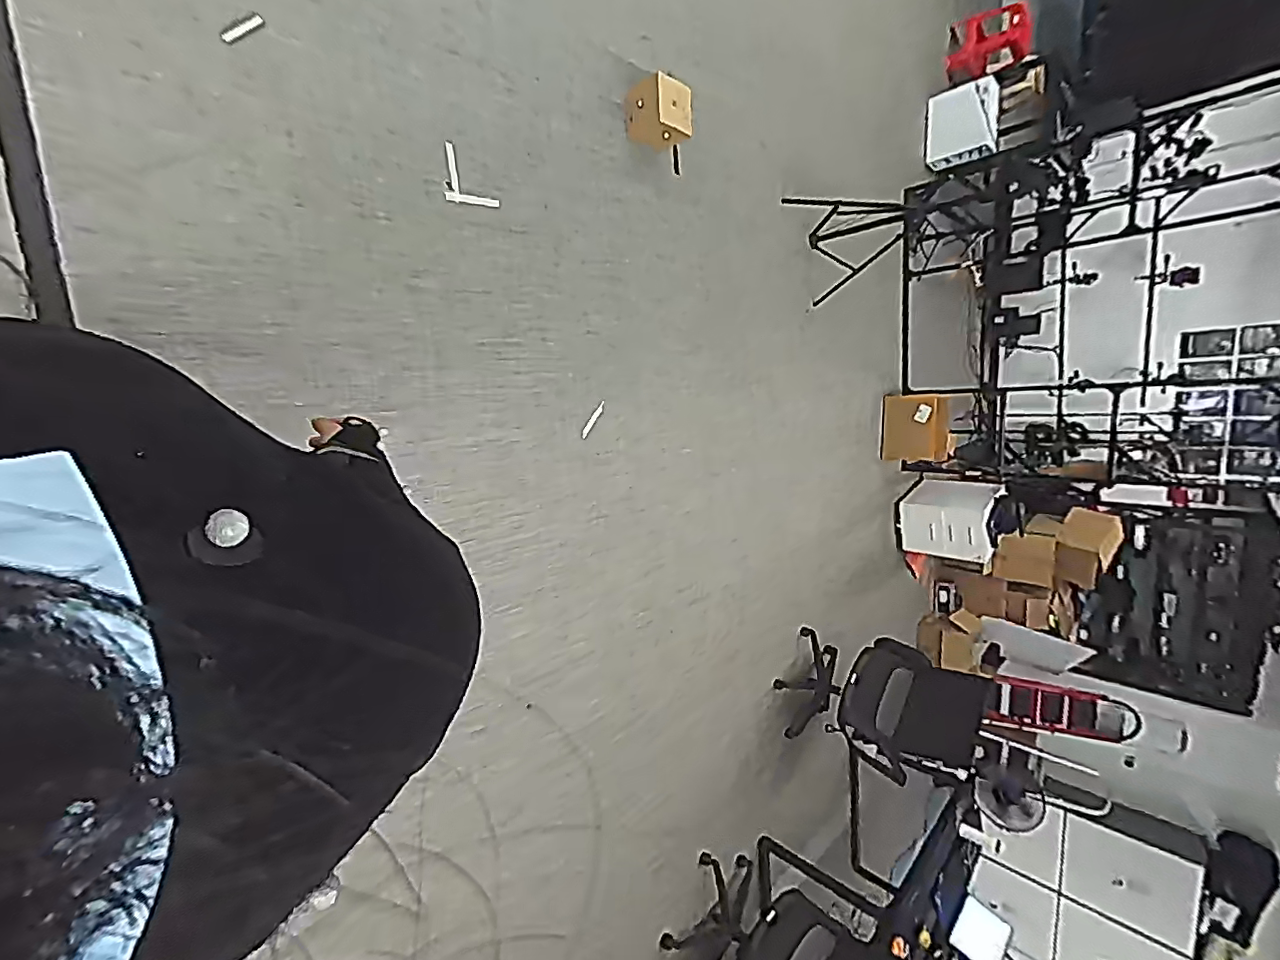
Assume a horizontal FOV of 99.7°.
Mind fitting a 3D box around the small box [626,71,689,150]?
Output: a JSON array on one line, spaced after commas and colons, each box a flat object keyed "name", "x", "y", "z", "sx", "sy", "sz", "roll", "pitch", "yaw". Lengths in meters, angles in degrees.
[{"name": "small box", "x": 0.059, "y": -1.349, "z": 1.991, "sx": 0.179, "sy": 0.176, "sz": 0.168, "roll": -10, "pitch": 101, "yaw": -44}]
